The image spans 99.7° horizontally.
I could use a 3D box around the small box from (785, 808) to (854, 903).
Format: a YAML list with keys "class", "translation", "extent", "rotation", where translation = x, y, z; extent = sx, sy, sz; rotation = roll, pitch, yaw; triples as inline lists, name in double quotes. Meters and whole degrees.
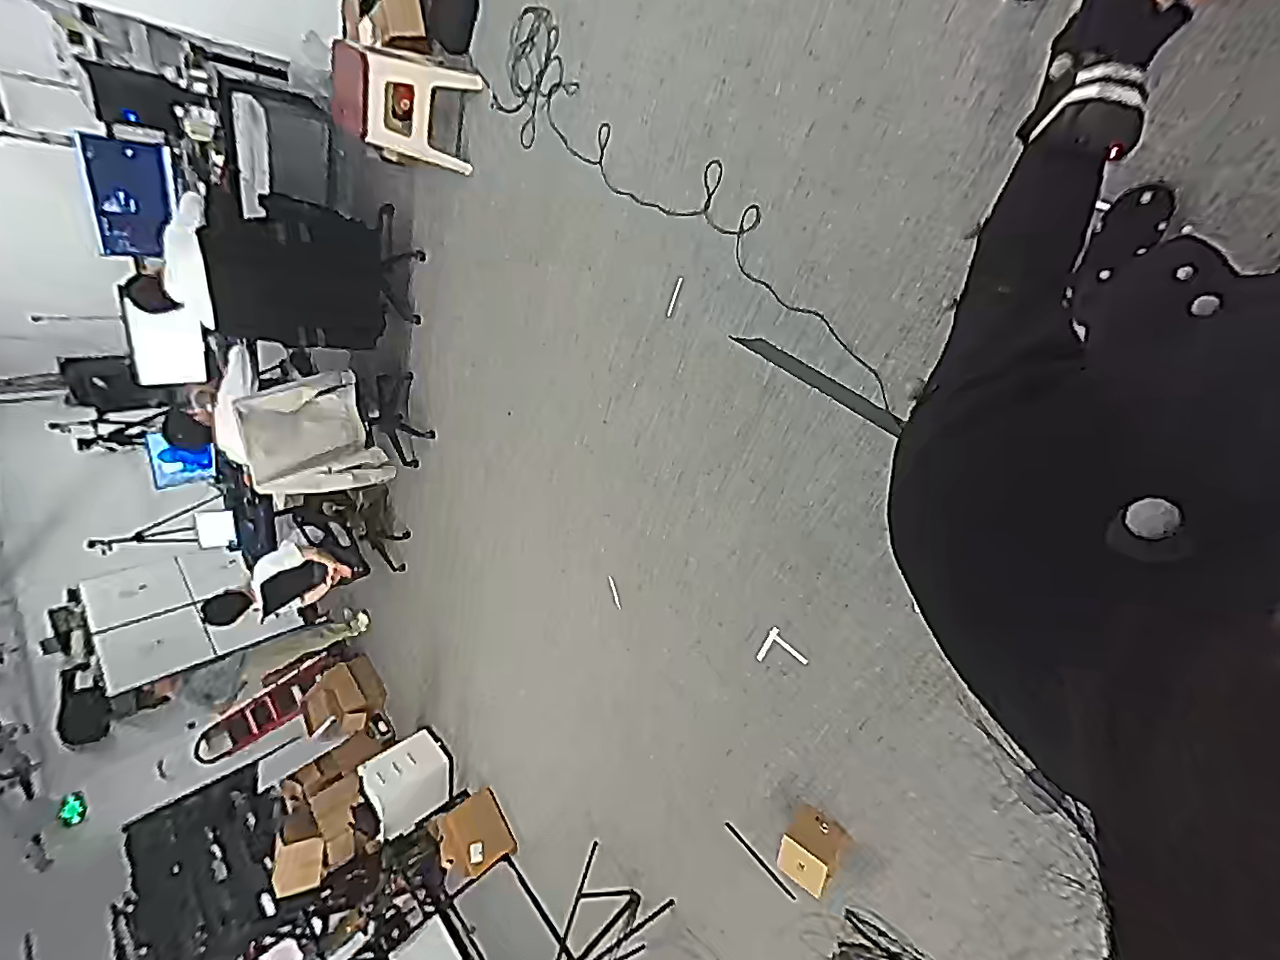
- class: "small box"
  translation: [0.637, 1.319, 1.909]
  extent: [0.168, 0.176, 0.179]
  rotation: [20, 116, 38]
